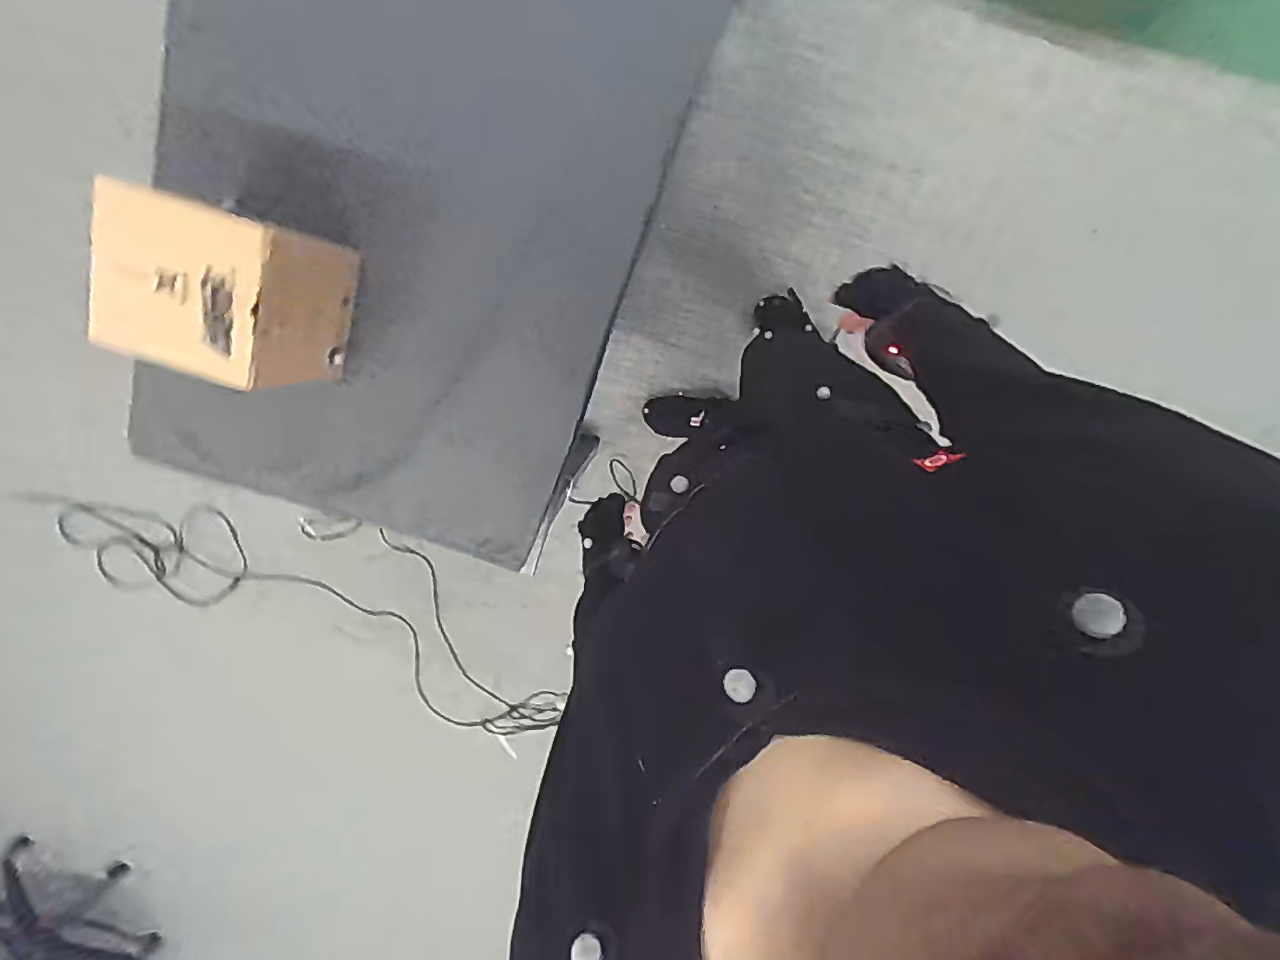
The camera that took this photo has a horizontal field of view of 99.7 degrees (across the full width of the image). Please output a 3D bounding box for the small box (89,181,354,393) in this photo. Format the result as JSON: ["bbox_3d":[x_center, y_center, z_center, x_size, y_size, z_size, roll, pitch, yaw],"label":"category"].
[{"bbox_3d":[-0.465,-0.212,0.623,0.179,0.176,0.168,17,105,-1],"label":"small box"}]
